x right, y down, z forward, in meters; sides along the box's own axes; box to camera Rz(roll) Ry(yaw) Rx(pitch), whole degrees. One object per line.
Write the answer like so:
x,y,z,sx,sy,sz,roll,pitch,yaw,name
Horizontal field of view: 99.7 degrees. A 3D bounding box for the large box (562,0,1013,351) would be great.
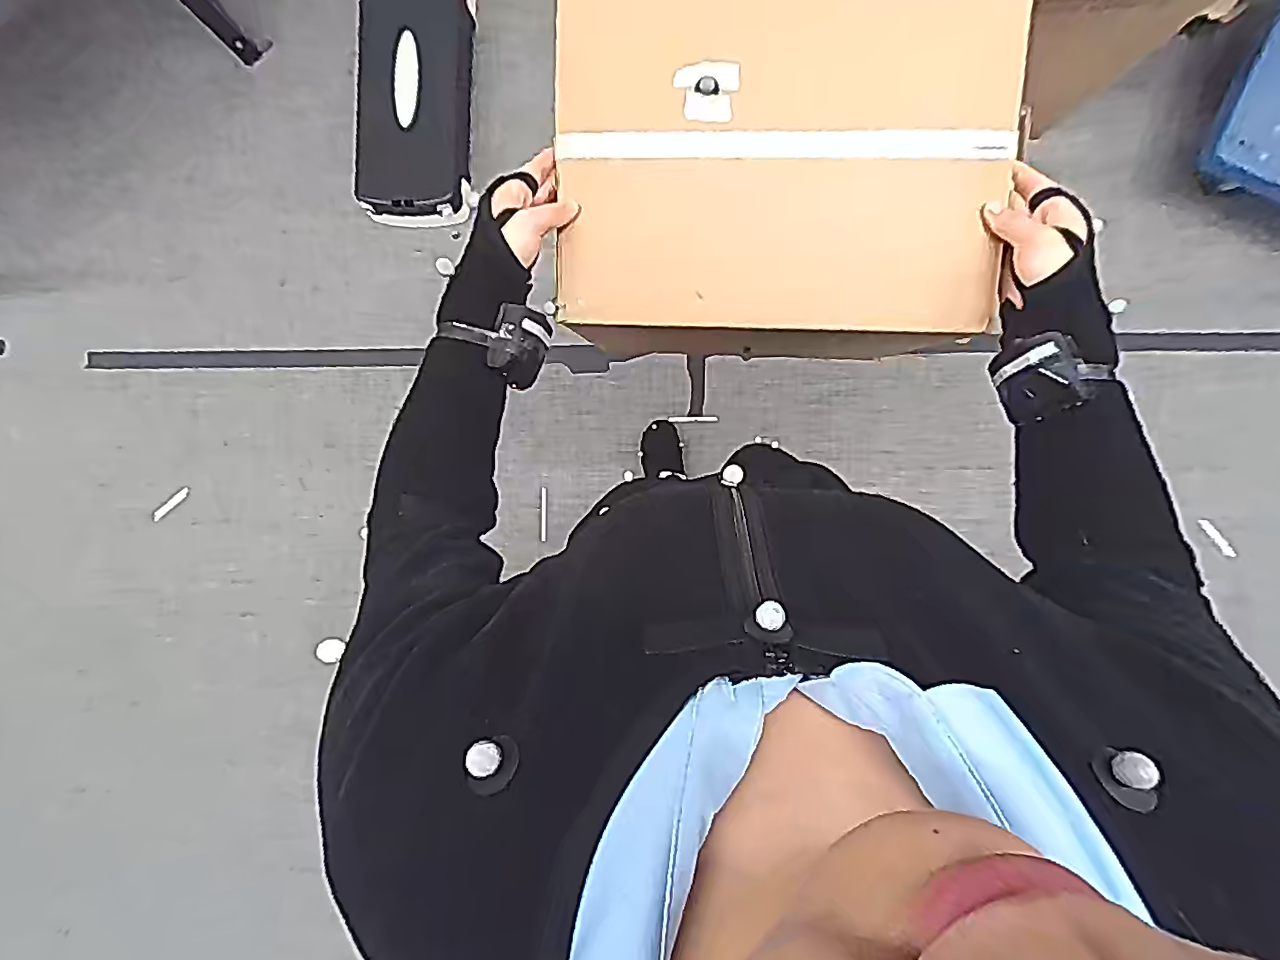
0.138,-0.323,0.647,0.408,0.320,0.320,2,97,4,large box
